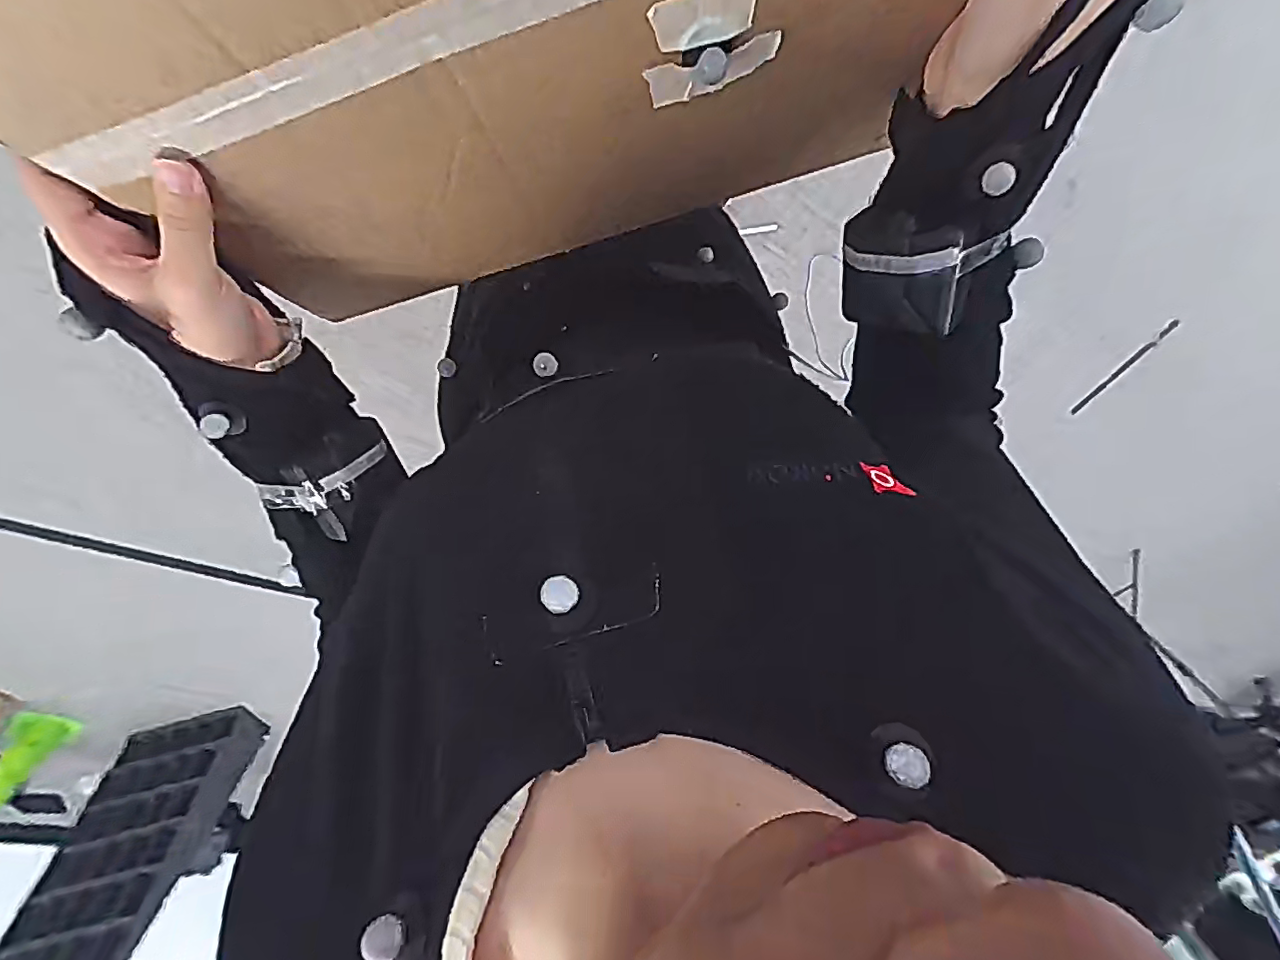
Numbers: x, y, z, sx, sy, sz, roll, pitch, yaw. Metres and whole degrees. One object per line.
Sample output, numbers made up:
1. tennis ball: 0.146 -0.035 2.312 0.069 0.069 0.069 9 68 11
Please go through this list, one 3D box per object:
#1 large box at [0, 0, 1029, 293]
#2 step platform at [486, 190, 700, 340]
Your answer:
1. large box: -0.066 -0.331 0.194 0.408 0.320 0.320 -15 171 8
2. step platform: -0.195 -0.607 1.191 0.684 0.204 0.286 29 116 -26
